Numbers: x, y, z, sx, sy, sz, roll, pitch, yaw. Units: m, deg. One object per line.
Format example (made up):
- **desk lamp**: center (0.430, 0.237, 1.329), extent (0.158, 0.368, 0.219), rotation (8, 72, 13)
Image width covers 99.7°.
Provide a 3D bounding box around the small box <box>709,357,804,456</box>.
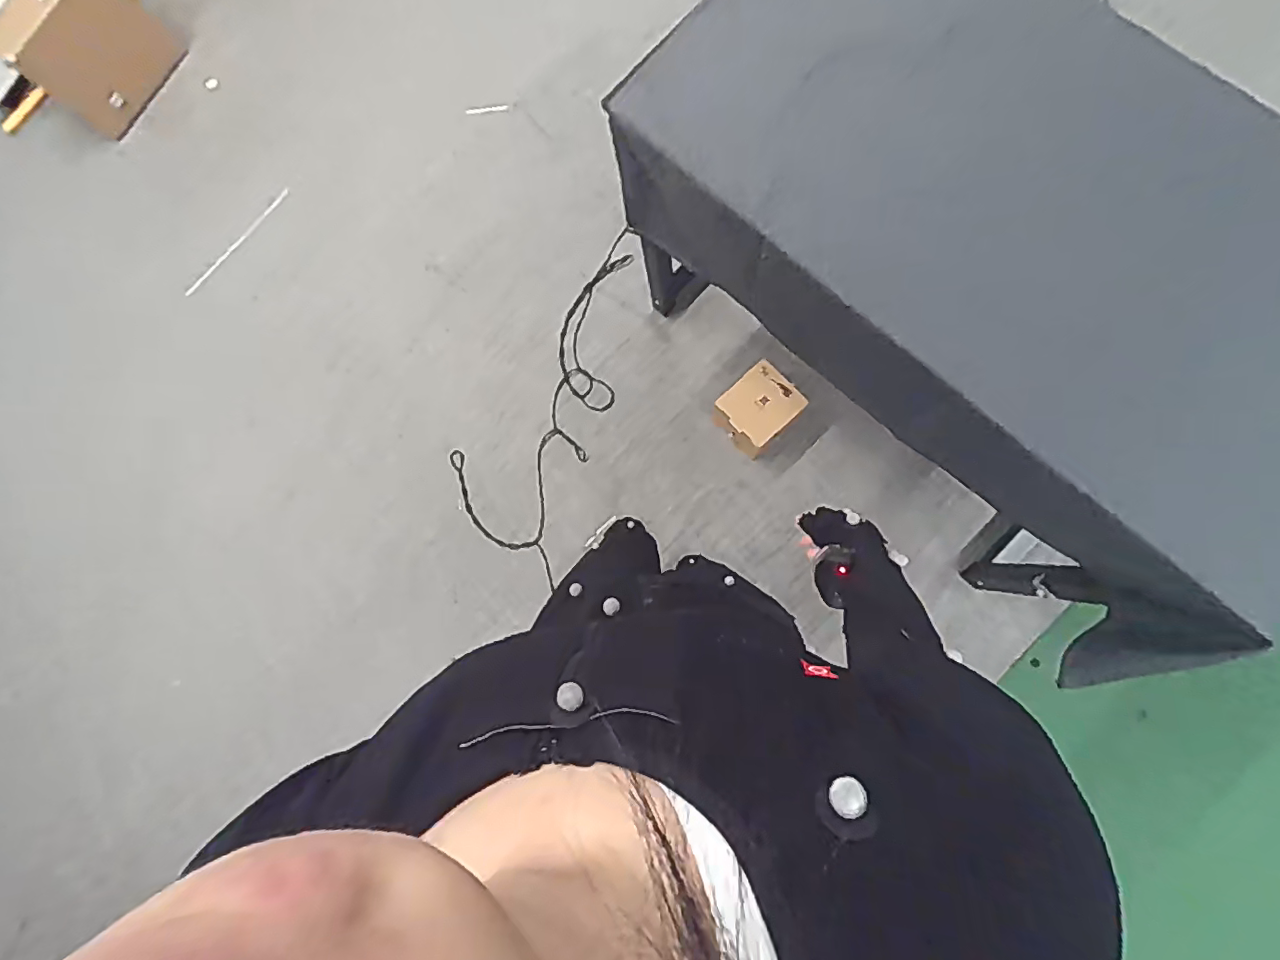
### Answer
- **small box**: center (0.301, -0.185, 1.425), extent (0.179, 0.176, 0.168), rotation (-43, 80, -1)
